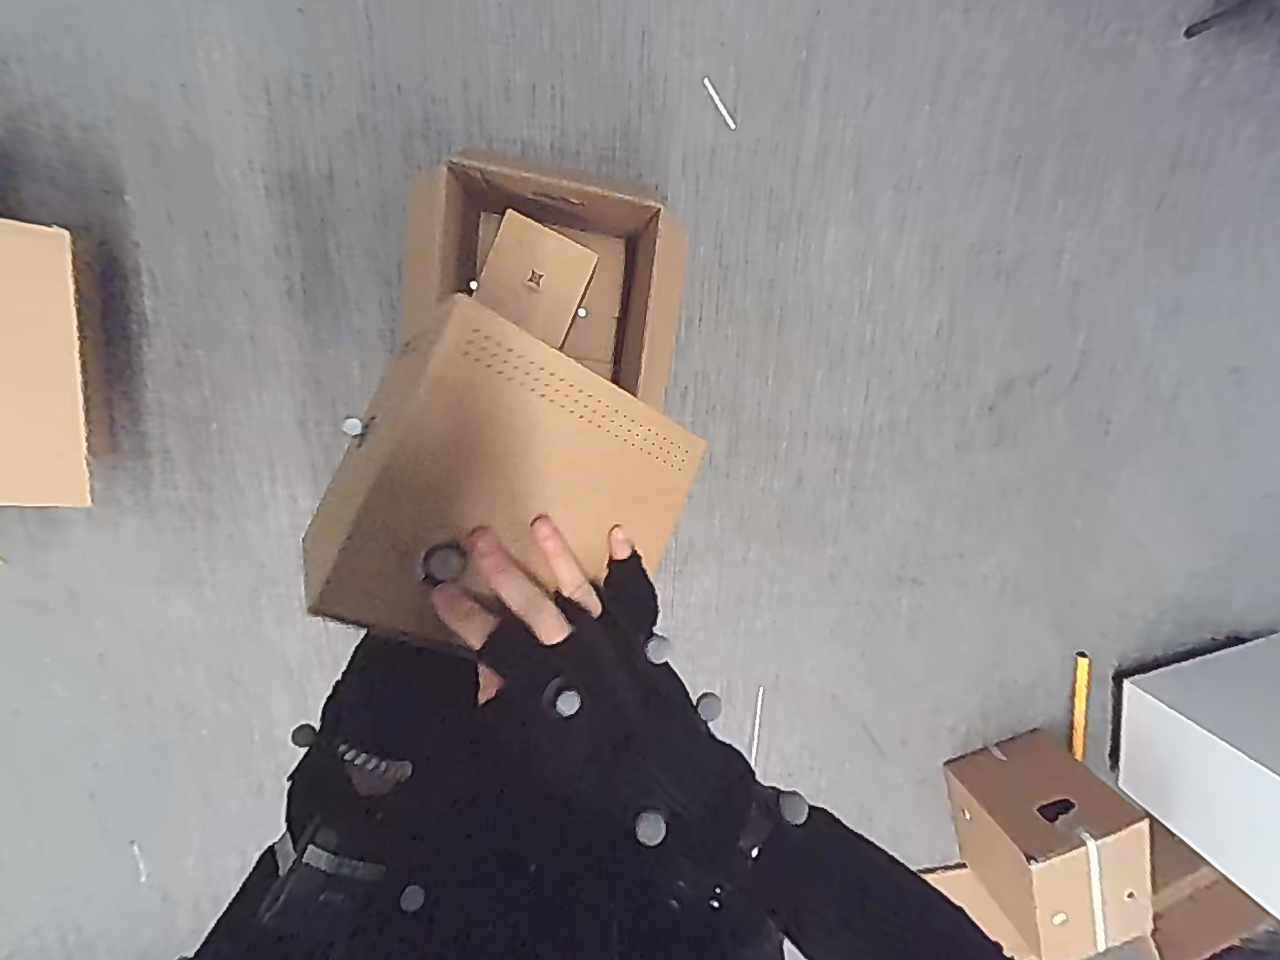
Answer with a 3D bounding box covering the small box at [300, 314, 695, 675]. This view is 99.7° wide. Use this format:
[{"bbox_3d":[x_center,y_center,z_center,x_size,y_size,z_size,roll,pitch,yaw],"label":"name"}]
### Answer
[{"bbox_3d":[-0.096,0.003,0.361,0.179,0.168,0.176,26,84,-33],"label":"small box"}]
